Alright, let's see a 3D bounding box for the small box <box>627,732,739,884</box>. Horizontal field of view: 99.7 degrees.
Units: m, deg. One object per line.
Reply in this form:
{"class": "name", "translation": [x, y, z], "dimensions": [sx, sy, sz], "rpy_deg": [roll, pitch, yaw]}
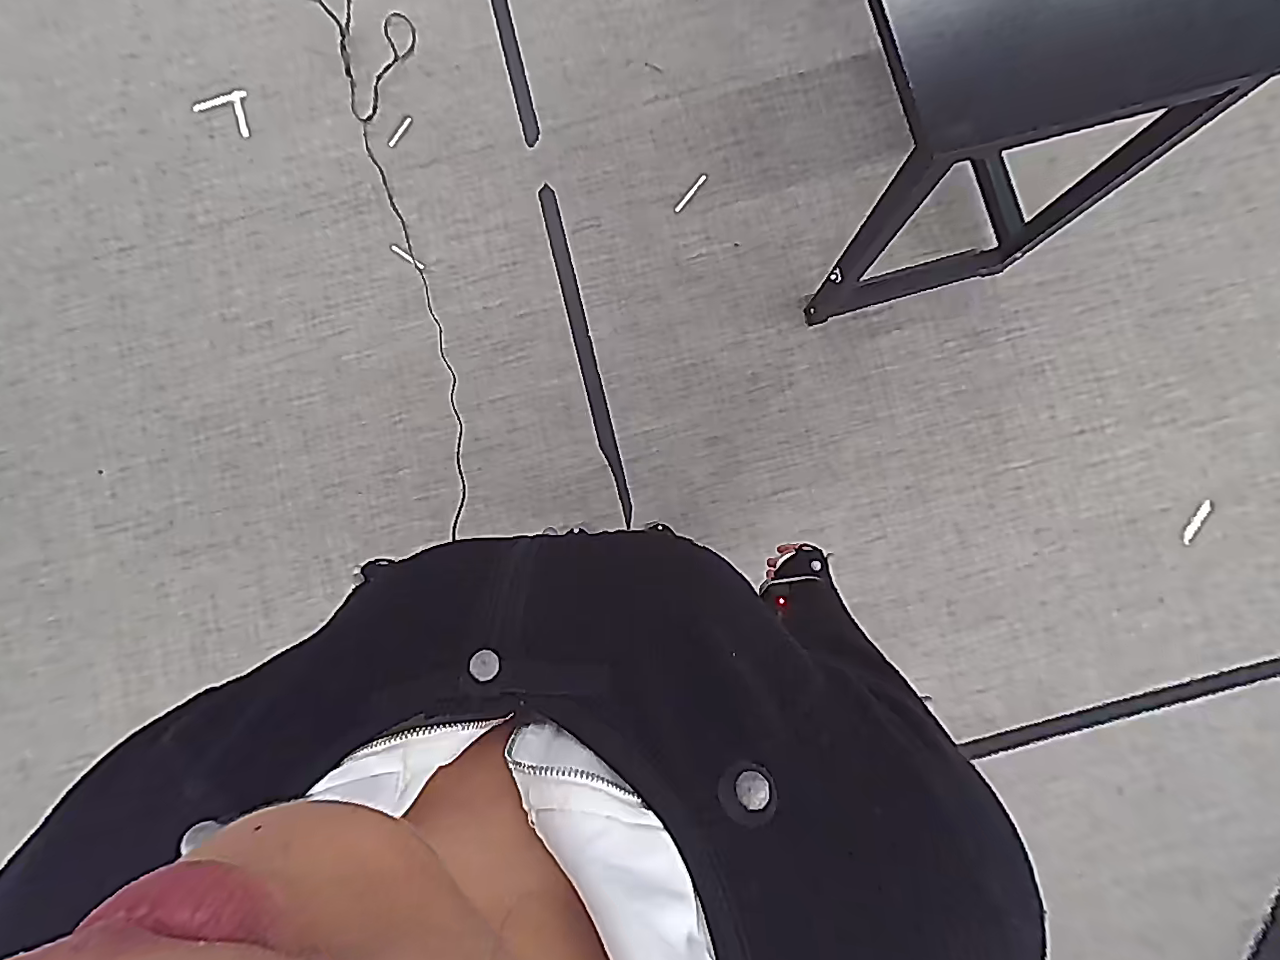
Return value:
{"class": "small box", "translation": [0.082, 0.623, 1.047], "dimensions": [0.168, 0.176, 0.179], "rpy_deg": [-17, 83, 1]}
